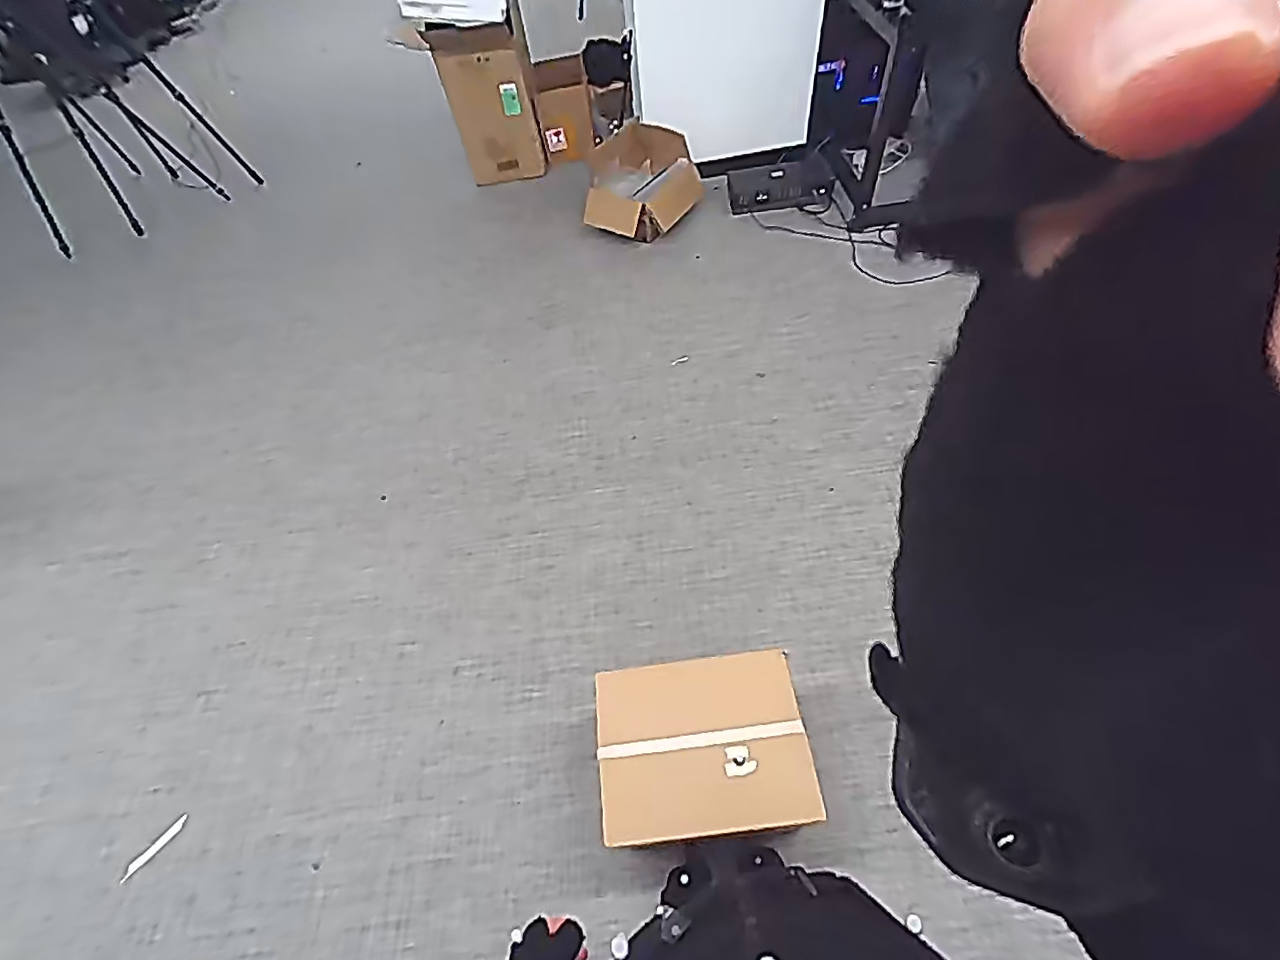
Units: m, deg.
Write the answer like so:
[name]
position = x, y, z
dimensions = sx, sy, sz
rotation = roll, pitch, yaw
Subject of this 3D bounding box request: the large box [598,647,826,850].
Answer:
[large box]
position = 0.136, 0.592, 1.179
dimensions = 0.408, 0.320, 0.320
rotation = -8, 55, 1
